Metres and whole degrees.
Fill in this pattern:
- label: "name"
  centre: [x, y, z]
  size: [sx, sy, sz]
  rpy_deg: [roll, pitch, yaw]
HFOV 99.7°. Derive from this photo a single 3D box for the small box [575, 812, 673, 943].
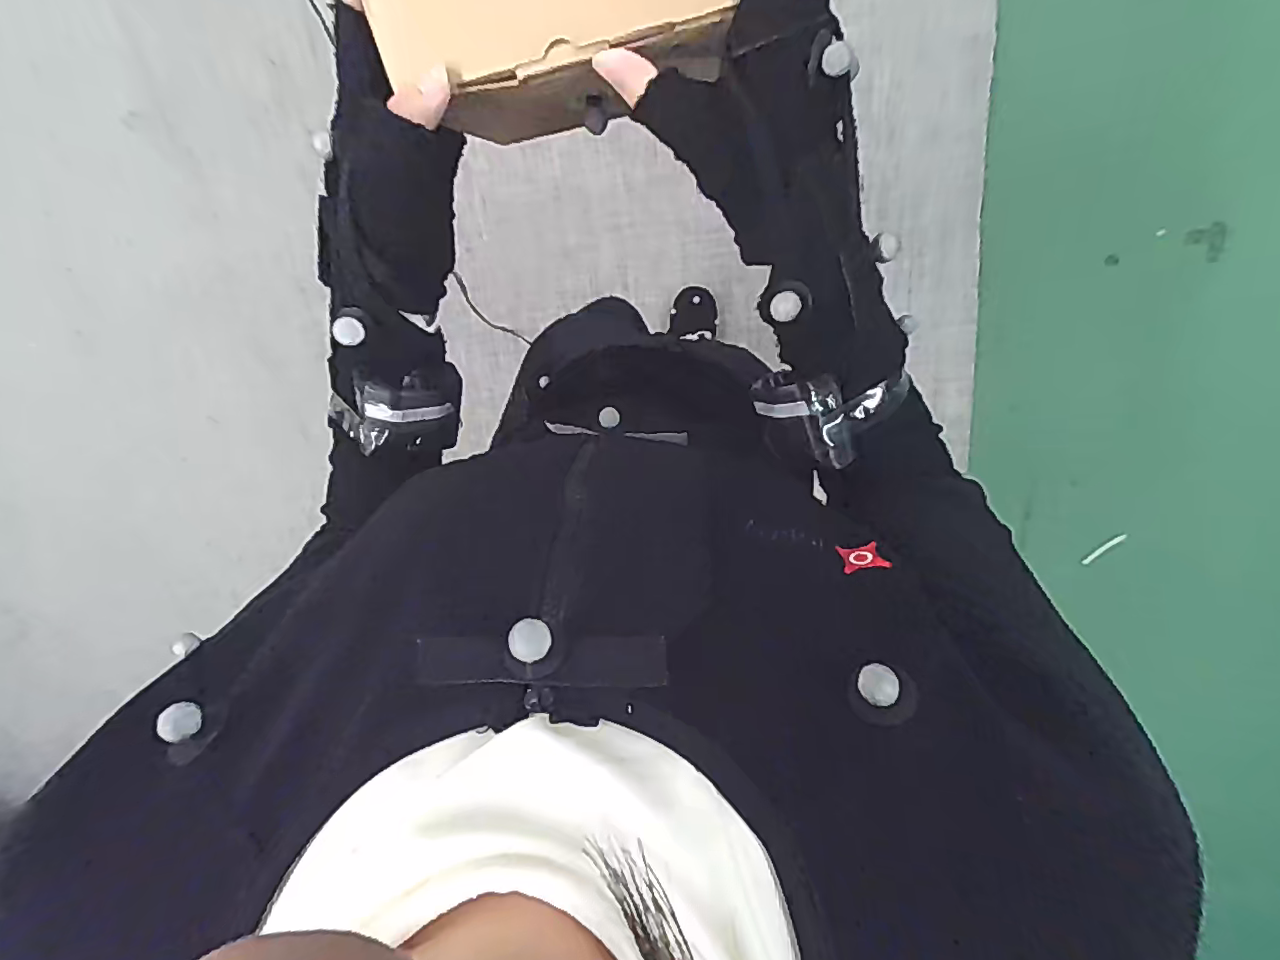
- label: "small box"
  centre: [-0.028, 0.858, 1.180]
  size: [0.179, 0.176, 0.168]
  rpy_deg: [-5, 106, 9]
